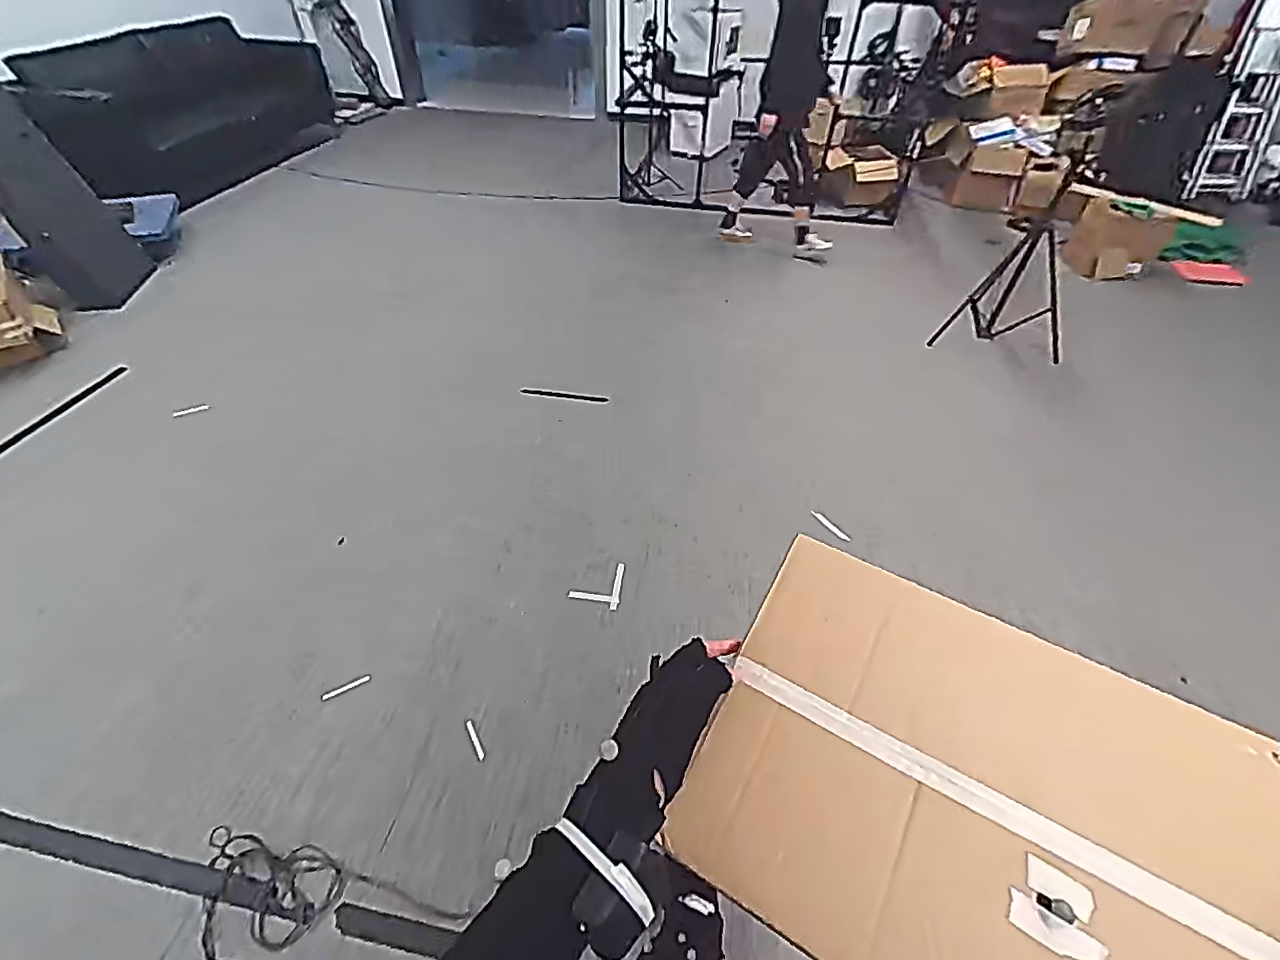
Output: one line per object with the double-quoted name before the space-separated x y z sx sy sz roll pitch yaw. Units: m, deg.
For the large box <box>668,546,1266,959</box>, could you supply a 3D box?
"large box" 0.274 0.336 0.568 0.408 0.320 0.320 25 62 20
